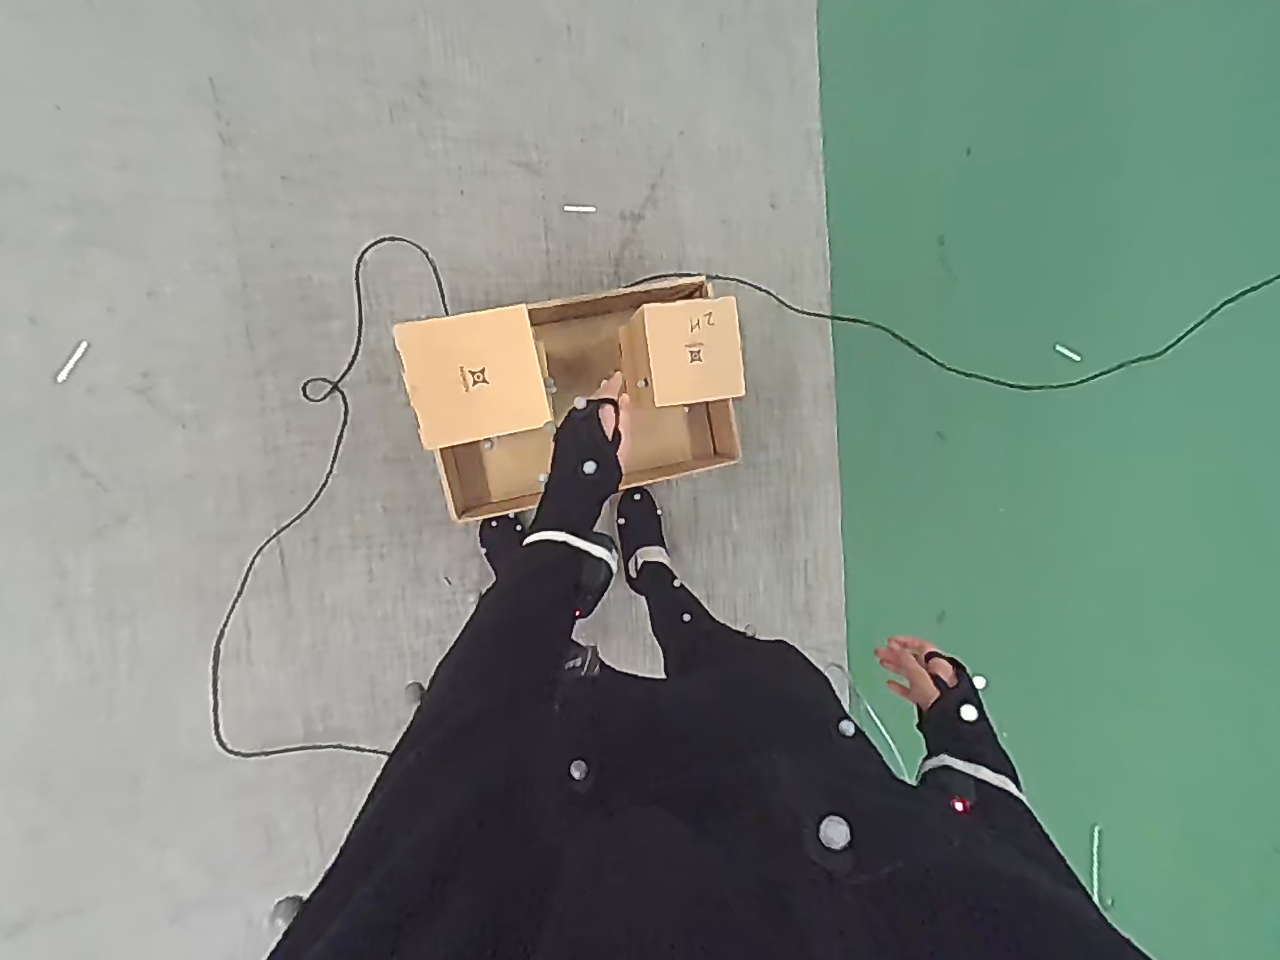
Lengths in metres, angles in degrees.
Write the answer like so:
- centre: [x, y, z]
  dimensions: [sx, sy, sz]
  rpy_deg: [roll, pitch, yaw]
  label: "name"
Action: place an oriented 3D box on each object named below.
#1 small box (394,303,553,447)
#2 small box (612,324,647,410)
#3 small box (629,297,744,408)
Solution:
- centre: [-0.231, -0.150, 0.790]
  dimensions: [0.179, 0.176, 0.168]
  rpy_deg: [-12, 99, -8]
  label: "small box"
- centre: [0.036, -0.242, 1.161]
  dimensions: [0.179, 0.176, 0.168]
  rpy_deg: [-8, 97, -9]
  label: "small box"
- centre: [0.080, -0.227, 1.002]
  dimensions: [0.168, 0.176, 0.179]
  rpy_deg: [-8, 96, -10]
  label: "small box"
